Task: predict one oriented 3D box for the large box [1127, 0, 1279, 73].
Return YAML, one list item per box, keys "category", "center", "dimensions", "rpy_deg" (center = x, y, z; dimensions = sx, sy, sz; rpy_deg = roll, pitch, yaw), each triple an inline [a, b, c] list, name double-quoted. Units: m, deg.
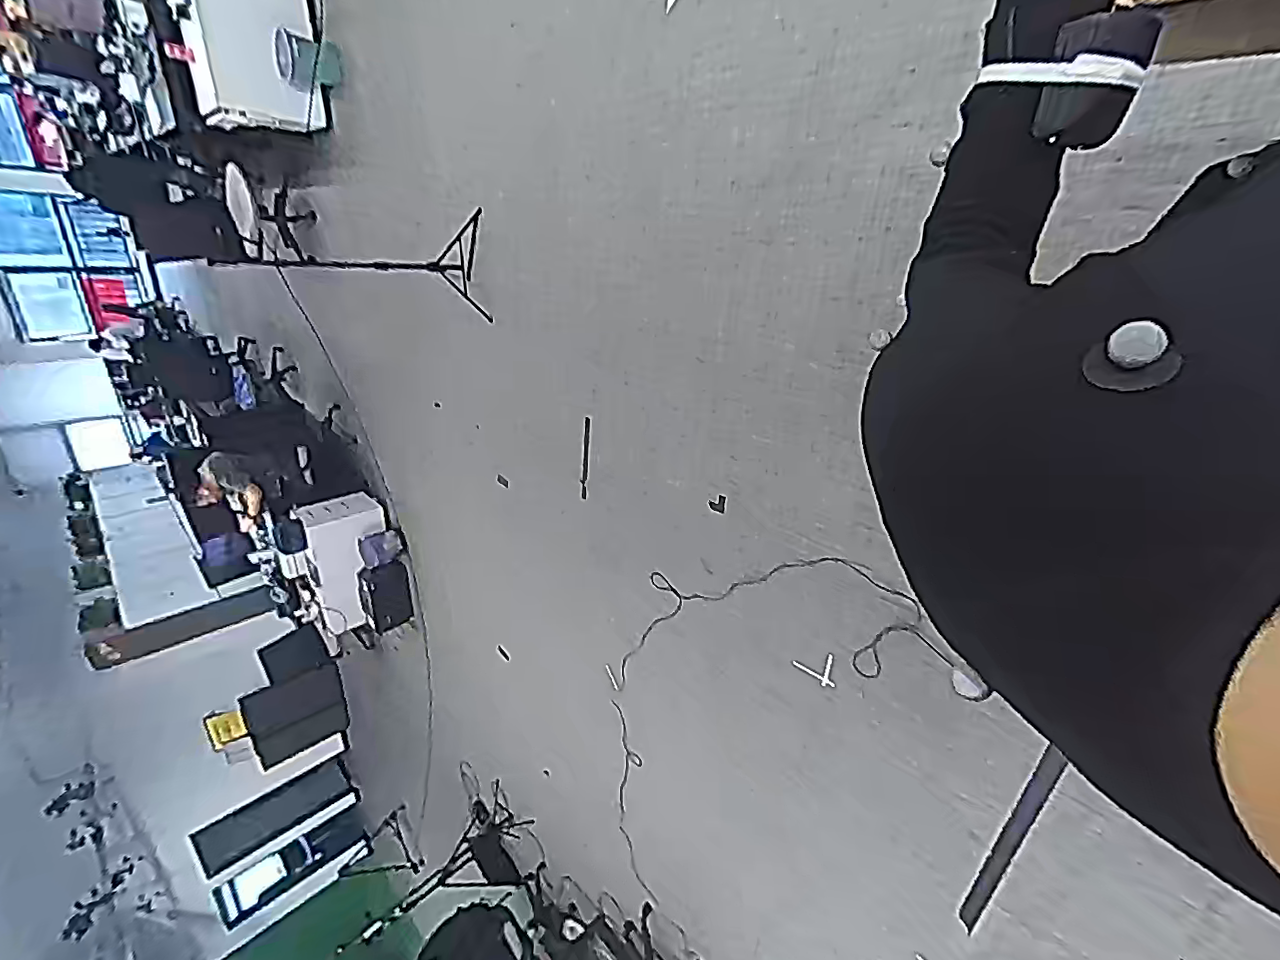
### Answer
- category: "large box"
  center: [0.530, -0.416, 0.239]
  dimensions: [0.408, 0.320, 0.320]
  rpy_deg: [21, 127, 35]
